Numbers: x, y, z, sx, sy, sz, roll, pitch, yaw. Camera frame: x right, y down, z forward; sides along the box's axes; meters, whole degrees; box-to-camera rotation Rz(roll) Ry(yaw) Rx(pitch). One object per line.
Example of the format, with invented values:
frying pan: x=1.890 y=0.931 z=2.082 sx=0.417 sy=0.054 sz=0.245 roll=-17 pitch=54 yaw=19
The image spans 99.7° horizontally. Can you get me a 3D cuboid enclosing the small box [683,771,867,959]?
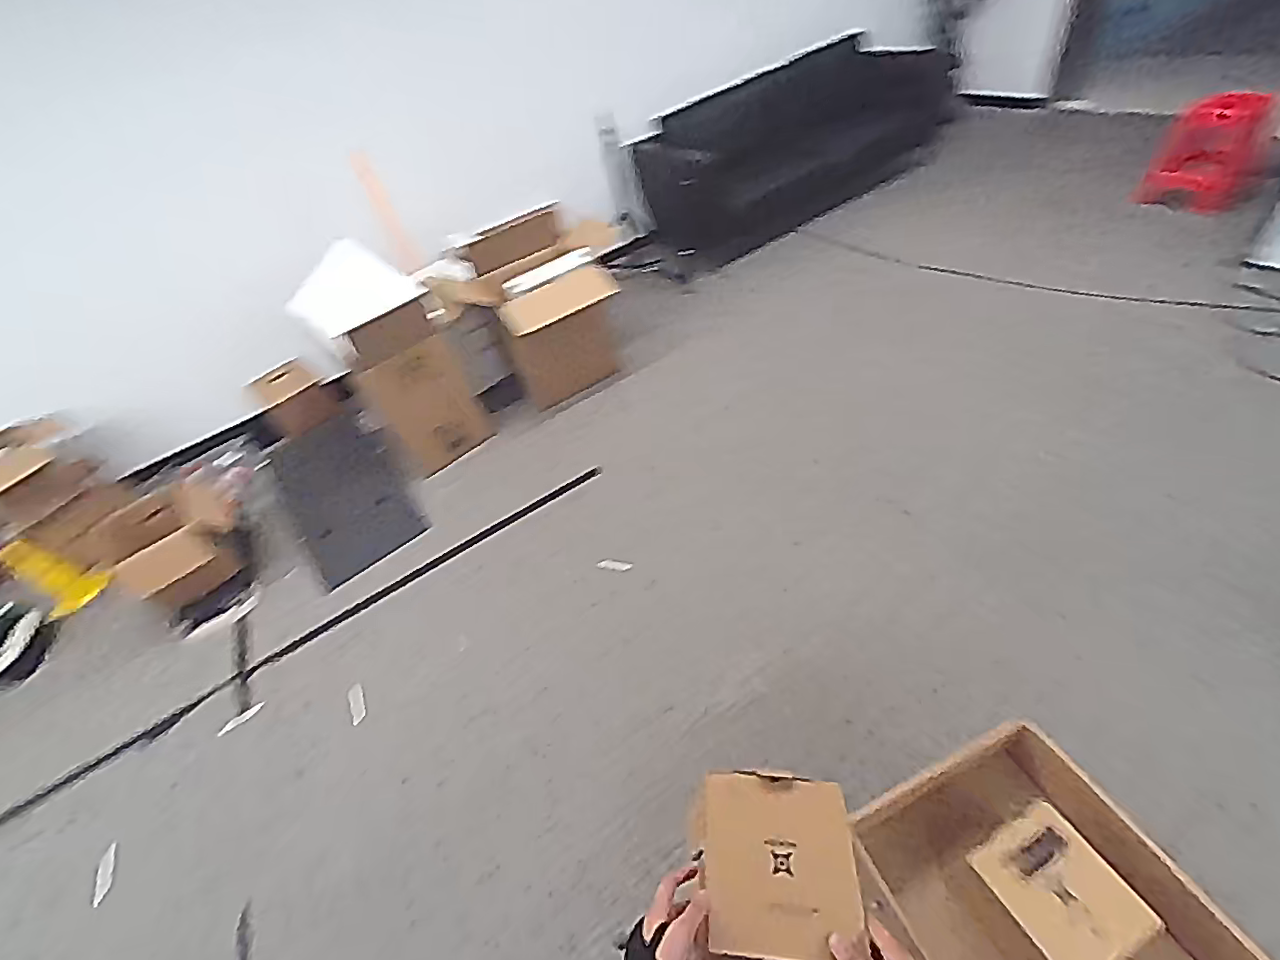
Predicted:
small box: x=0.142 y=0.478 z=0.640 sx=0.168 sy=0.176 sz=0.179 roll=6 pitch=40 yaw=1
